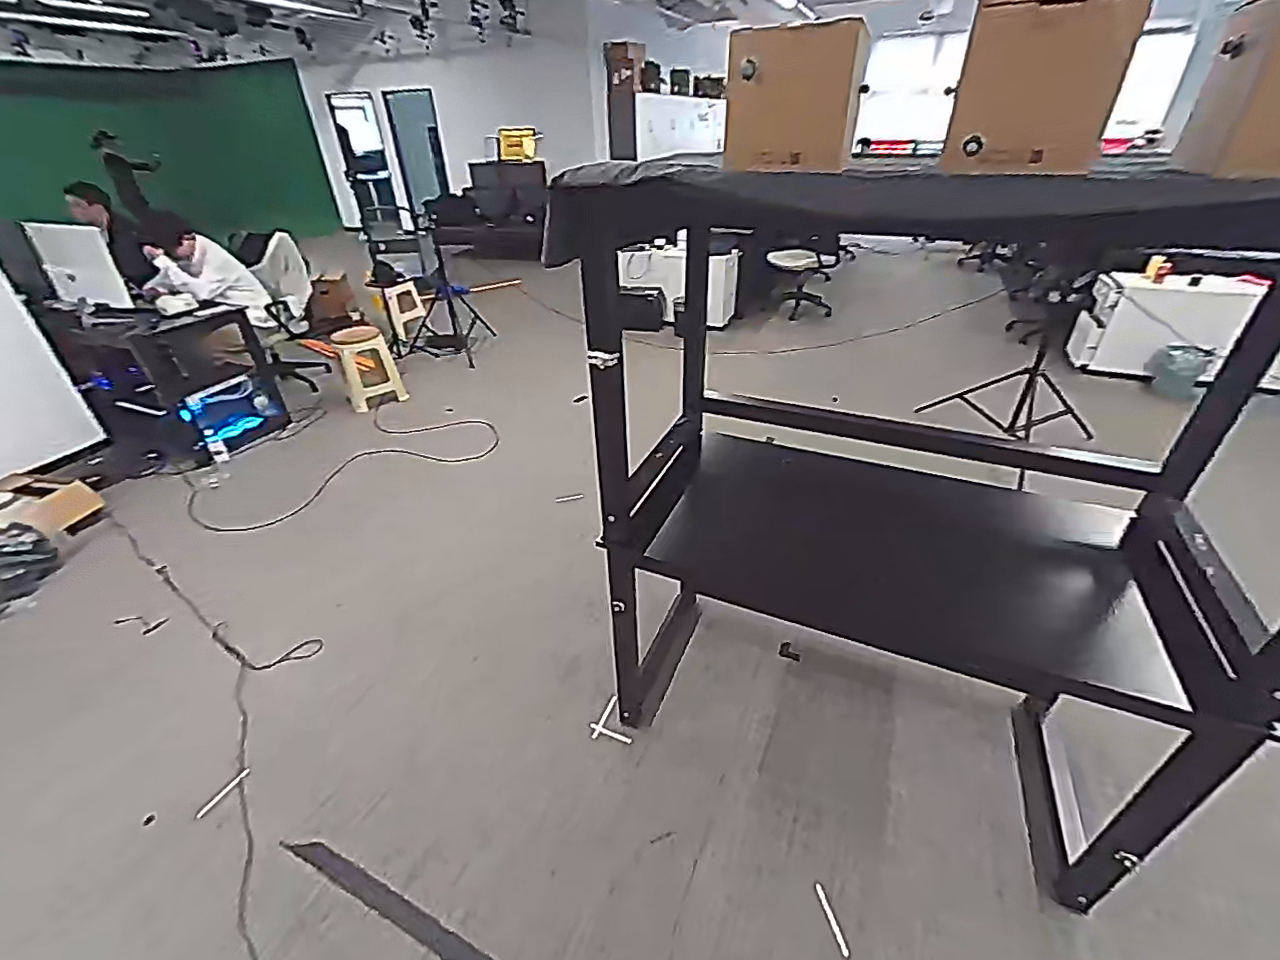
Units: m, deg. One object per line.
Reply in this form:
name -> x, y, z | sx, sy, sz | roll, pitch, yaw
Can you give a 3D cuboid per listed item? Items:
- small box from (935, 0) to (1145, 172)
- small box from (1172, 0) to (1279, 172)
small box -> 0.486, -0.490, 0.685 | 0.168, 0.176, 0.179 | 13, 34, 21
small box -> 0.737, -0.434, 0.586 | 0.168, 0.176, 0.179 | 12, 35, 23
